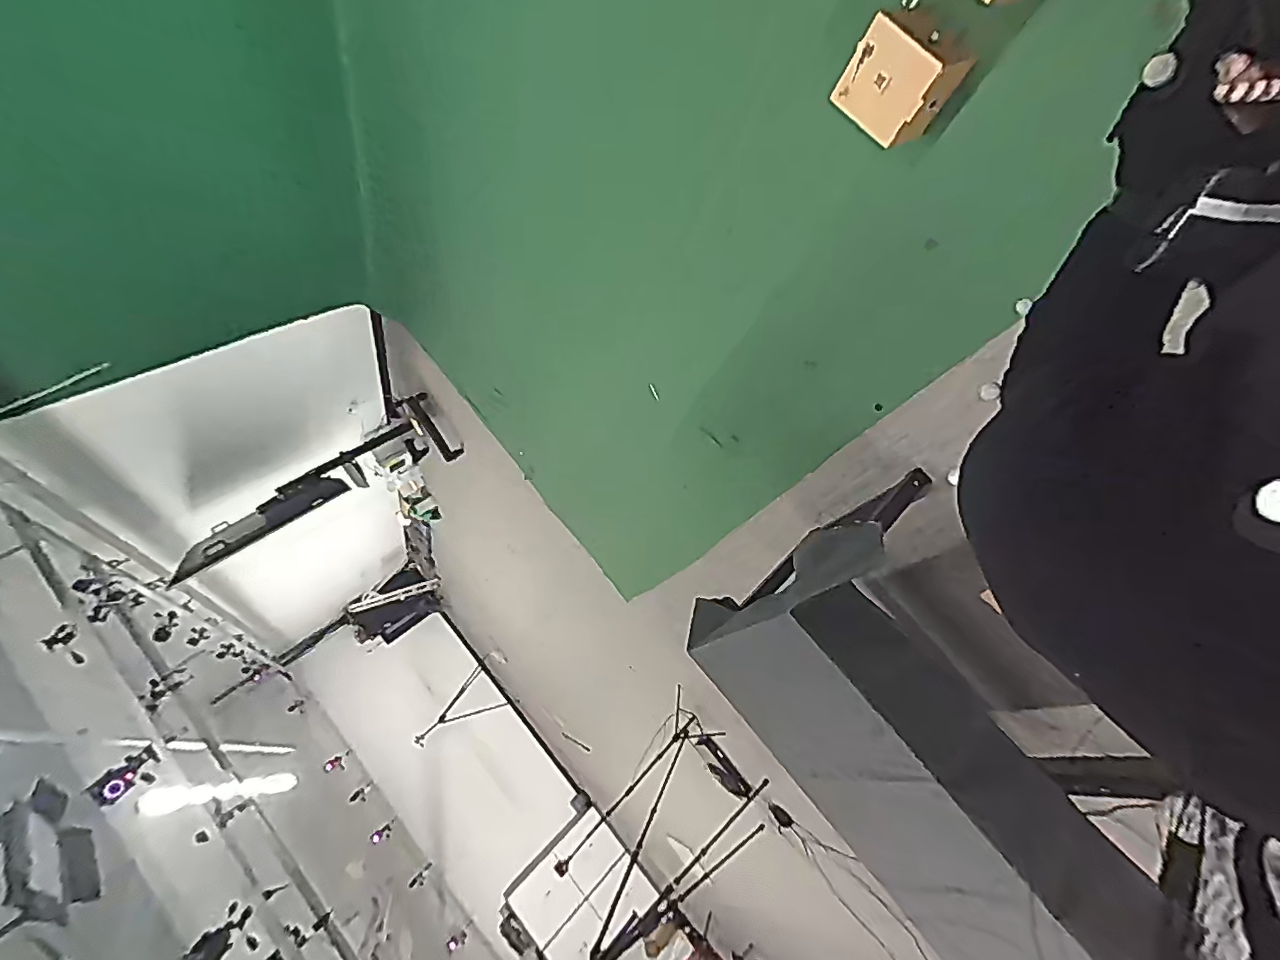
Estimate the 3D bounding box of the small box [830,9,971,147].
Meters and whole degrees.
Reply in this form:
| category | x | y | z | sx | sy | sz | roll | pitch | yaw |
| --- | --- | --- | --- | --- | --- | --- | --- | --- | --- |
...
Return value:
| category | x | y | z | sx | sy | sz | roll | pitch | yaw |
| --- | --- | --- | --- | --- | --- | --- | --- | --- | --- |
| small box | 0.549 | -0.848 | 1.136 | 0.179 | 0.176 | 0.168 | 48 | 149 | 8 |

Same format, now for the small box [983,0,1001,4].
| category | x | y | z | sx | sy | sz | roll | pitch | yaw |
| --- | --- | --- | --- | --- | --- | --- | --- | --- | --- |
| small box | 0.634 | -0.959 | 0.909 | 0.168 | 0.176 | 0.179 | 50 | 150 | 6 |
